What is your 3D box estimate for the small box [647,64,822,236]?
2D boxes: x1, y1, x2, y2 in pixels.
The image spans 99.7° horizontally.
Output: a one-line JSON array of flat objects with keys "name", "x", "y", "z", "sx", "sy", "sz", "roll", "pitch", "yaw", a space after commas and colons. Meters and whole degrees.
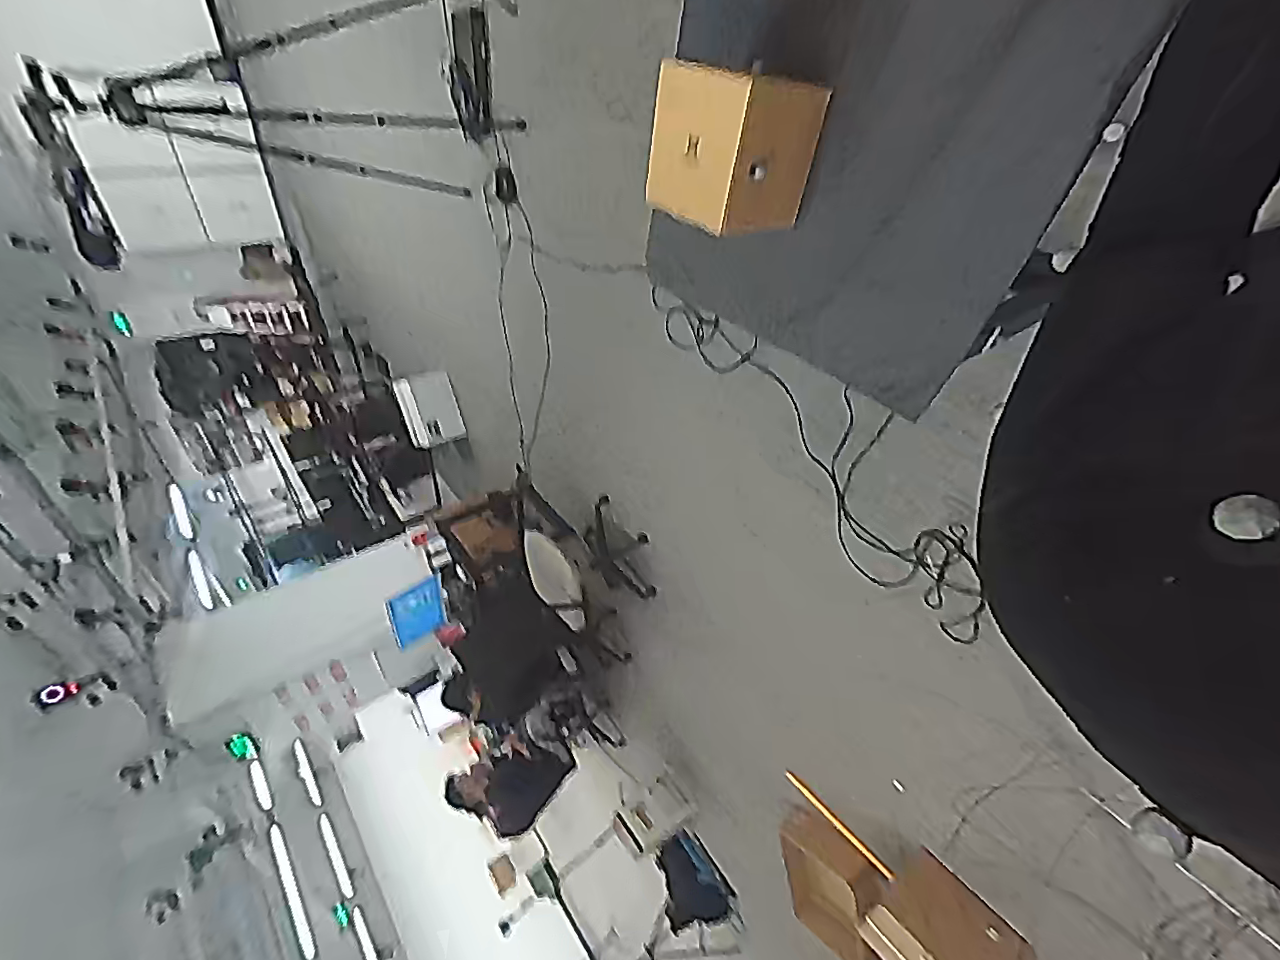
[{"name": "small box", "x": 0.134, "y": -0.477, "z": 0.779, "sx": 0.168, "sy": 0.176, "sz": 0.179, "roll": 41, "pitch": 141, "yaw": 33}]
